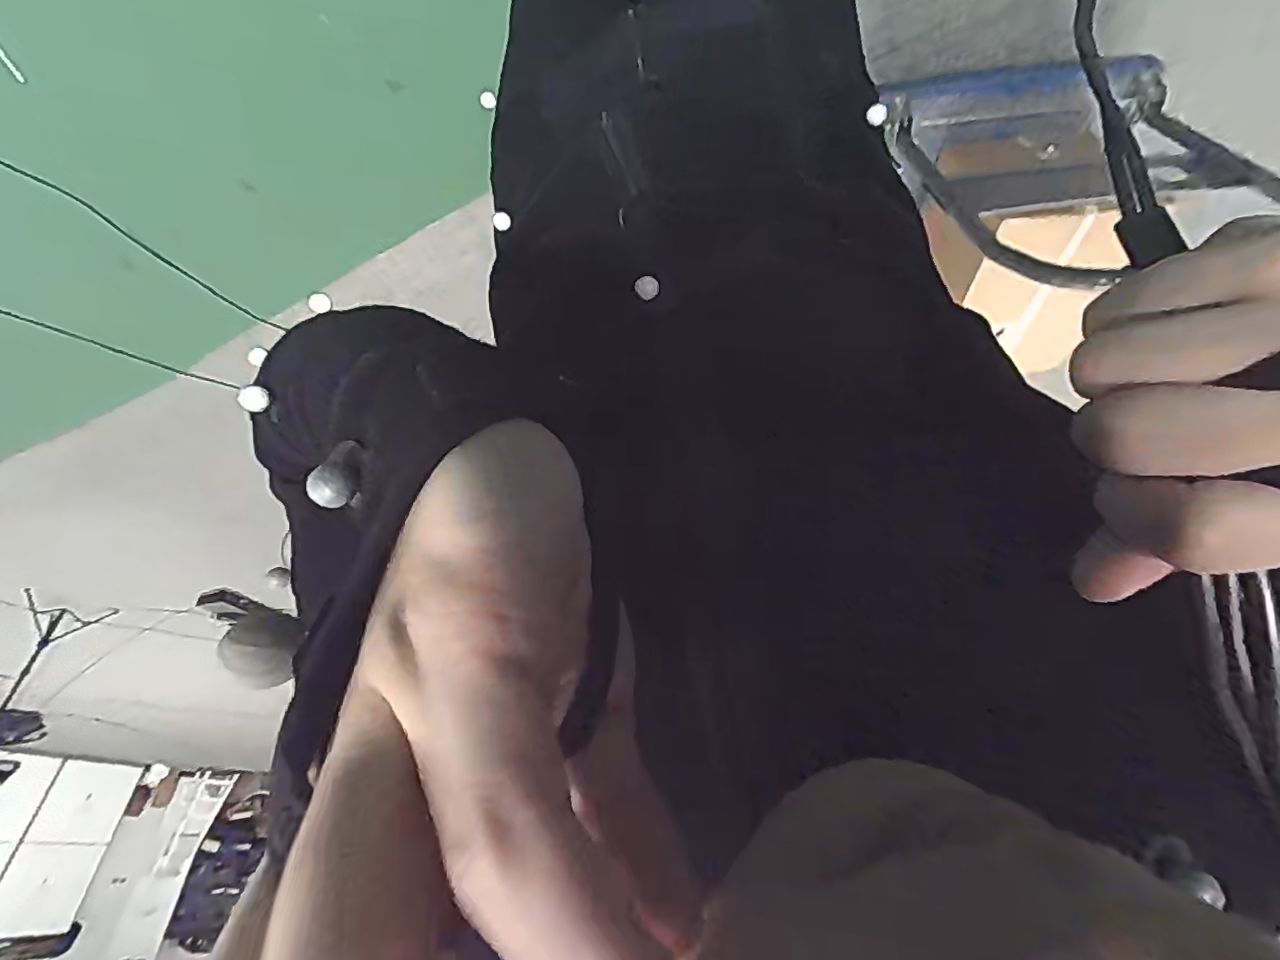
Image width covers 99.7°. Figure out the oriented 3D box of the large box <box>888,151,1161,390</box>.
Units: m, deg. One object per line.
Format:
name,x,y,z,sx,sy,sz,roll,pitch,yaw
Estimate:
large box,0.824,-0.468,1.244,0.320,0.320,0.408,-3,144,2
